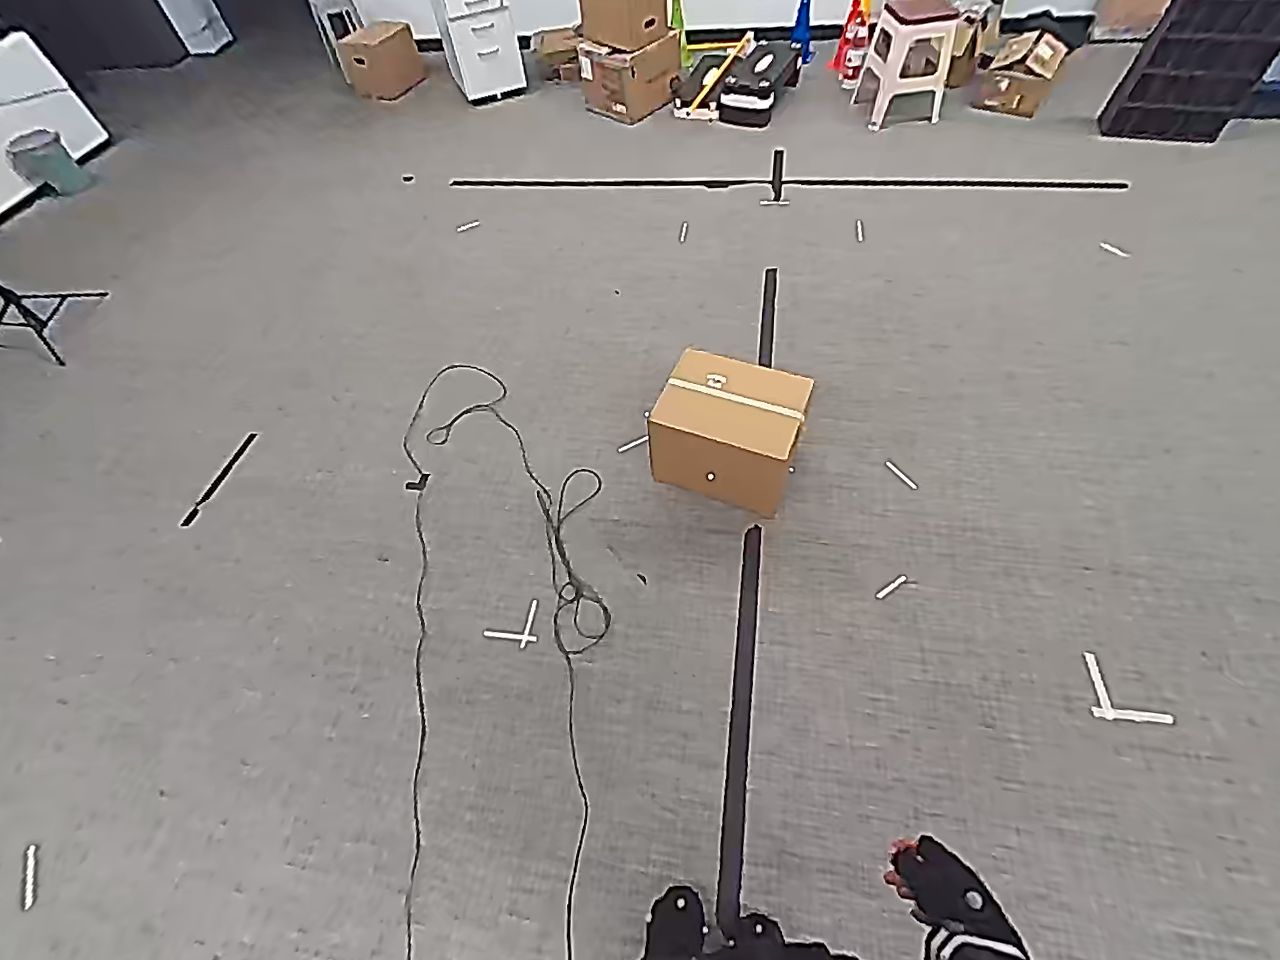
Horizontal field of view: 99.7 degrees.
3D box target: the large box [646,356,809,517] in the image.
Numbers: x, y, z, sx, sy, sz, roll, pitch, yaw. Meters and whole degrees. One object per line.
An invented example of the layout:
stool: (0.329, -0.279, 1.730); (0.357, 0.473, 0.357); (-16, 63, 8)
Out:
large box: (0.270, -0.133, 1.681); (0.408, 0.320, 0.320); (18, 59, 17)
